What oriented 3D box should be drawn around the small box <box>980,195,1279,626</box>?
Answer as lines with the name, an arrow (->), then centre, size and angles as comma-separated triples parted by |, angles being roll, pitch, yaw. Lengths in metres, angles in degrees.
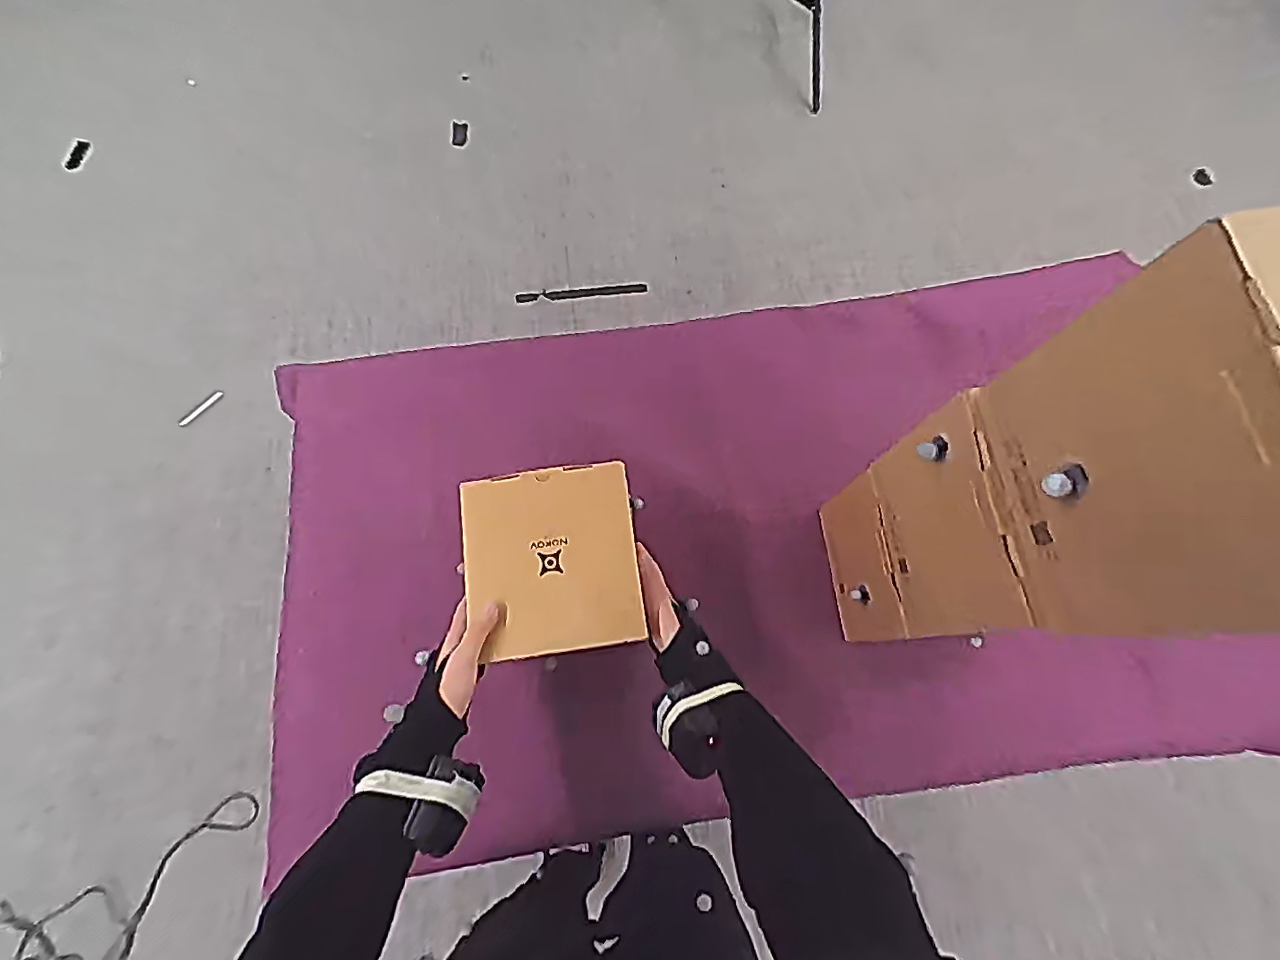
small box -> 0.324, -0.019, 0.276 | 0.179, 0.176, 0.168 | -6, 72, -1

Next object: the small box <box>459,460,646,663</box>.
small box -> -0.085, 0.096, 0.590 | 0.168, 0.176, 0.179 | -9, 72, -2

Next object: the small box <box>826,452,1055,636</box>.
small box -> 0.318, 0.077, 0.591 | 0.179, 0.176, 0.168 | -6, 73, -2
